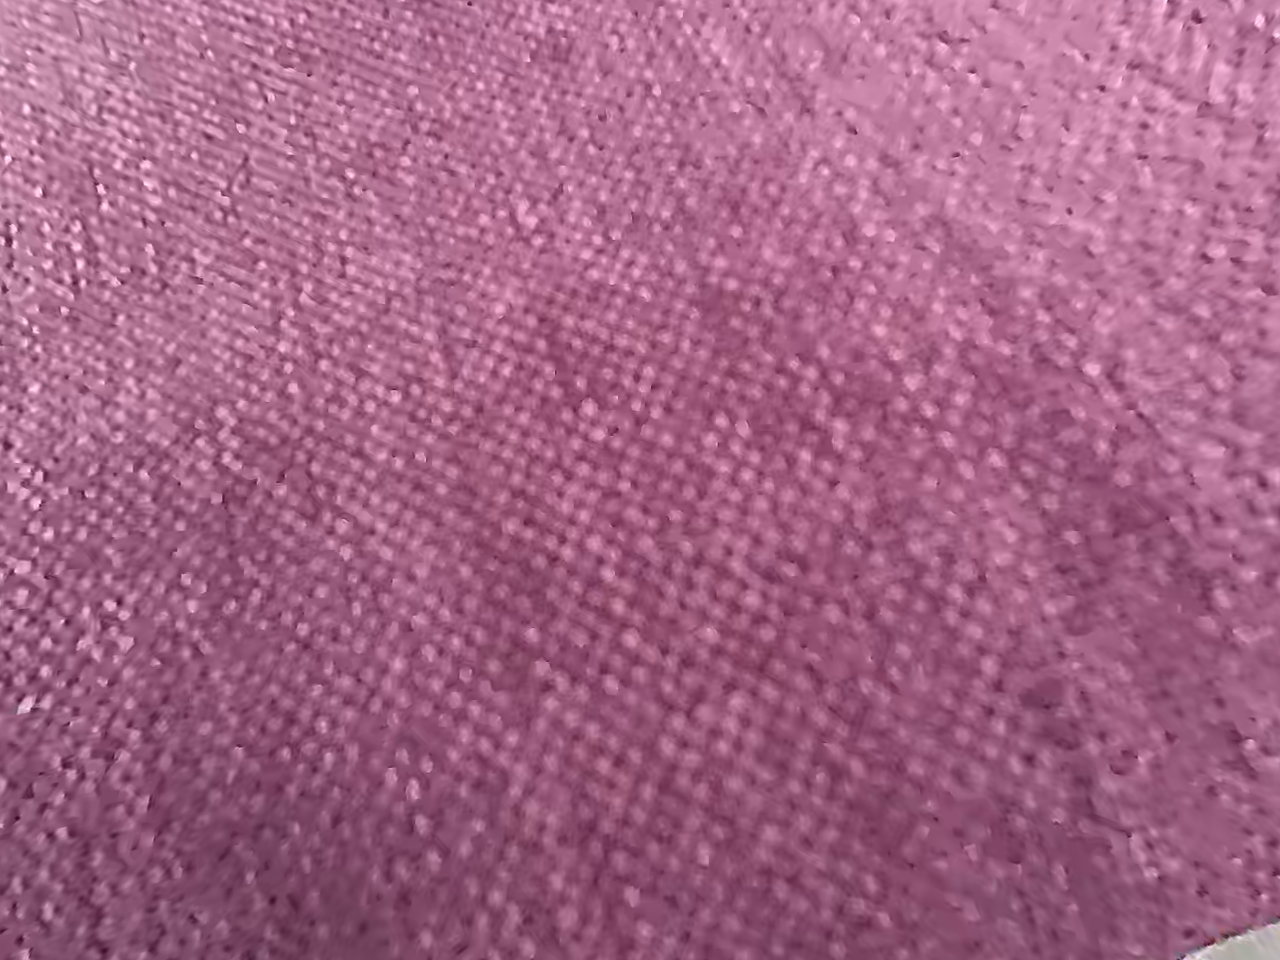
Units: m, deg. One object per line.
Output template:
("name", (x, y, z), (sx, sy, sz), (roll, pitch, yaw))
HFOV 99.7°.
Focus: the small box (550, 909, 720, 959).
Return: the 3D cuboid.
("small box", (-0.004, 0.544, 0.511), (0.179, 0.168, 0.176), (-6, 77, 3))
